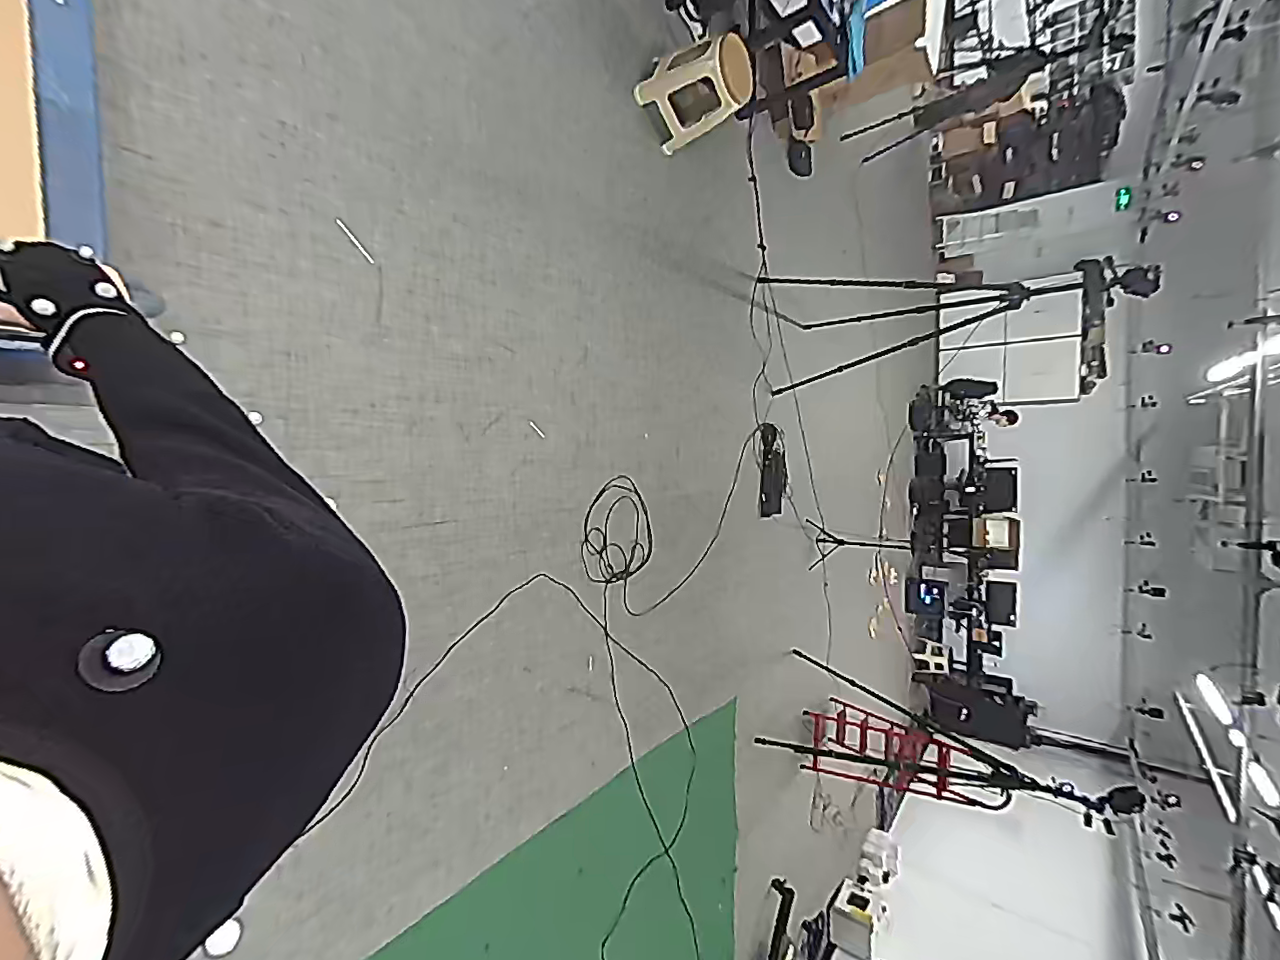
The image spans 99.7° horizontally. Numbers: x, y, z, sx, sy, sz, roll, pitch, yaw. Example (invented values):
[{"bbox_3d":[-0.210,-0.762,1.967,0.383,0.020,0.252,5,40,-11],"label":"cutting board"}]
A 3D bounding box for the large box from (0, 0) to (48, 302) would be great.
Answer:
[{"bbox_3d":[-1.114,-0.508,0.775,0.320,0.320,0.408,-6,95,-52],"label":"large box"}]
